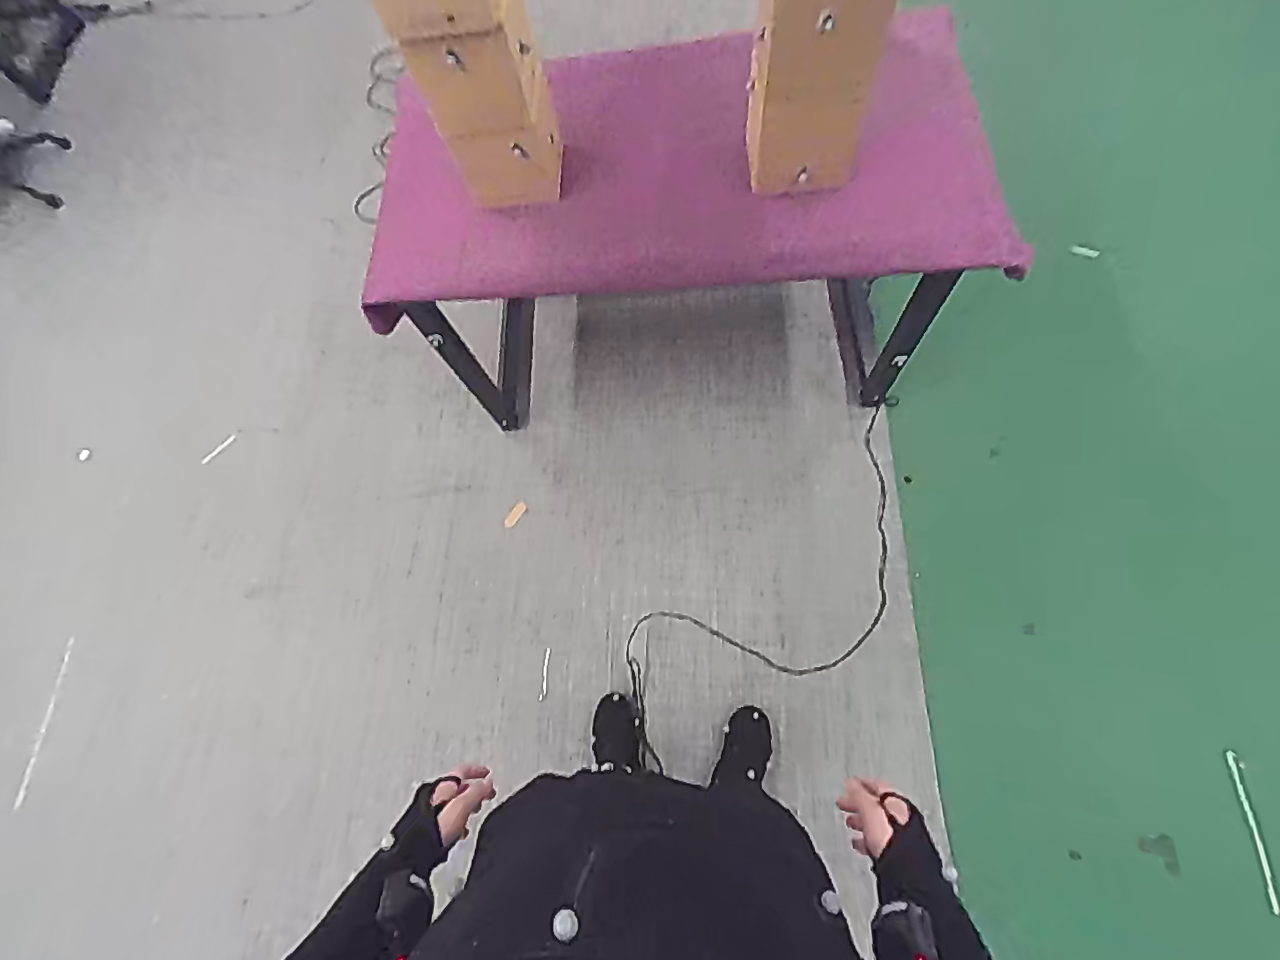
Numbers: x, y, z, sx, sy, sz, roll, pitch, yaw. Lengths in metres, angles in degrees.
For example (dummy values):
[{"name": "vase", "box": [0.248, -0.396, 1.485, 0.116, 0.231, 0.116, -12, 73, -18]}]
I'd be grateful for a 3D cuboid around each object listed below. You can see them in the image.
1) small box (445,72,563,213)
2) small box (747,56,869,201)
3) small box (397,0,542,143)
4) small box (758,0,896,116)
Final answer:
[{"name": "small box", "box": [-0.255, -0.652, 1.059, 0.179, 0.176, 0.168, -1, 70, 6]}, {"name": "small box", "box": [0.296, -0.644, 0.991, 0.179, 0.176, 0.168, -3, 69, 6]}, {"name": "small box", "box": [-0.272, -0.704, 0.907, 0.179, 0.176, 0.168, -2, 71, 6]}, {"name": "small box", "box": [0.278, -0.701, 0.838, 0.179, 0.176, 0.168, -2, 71, 6]}]
